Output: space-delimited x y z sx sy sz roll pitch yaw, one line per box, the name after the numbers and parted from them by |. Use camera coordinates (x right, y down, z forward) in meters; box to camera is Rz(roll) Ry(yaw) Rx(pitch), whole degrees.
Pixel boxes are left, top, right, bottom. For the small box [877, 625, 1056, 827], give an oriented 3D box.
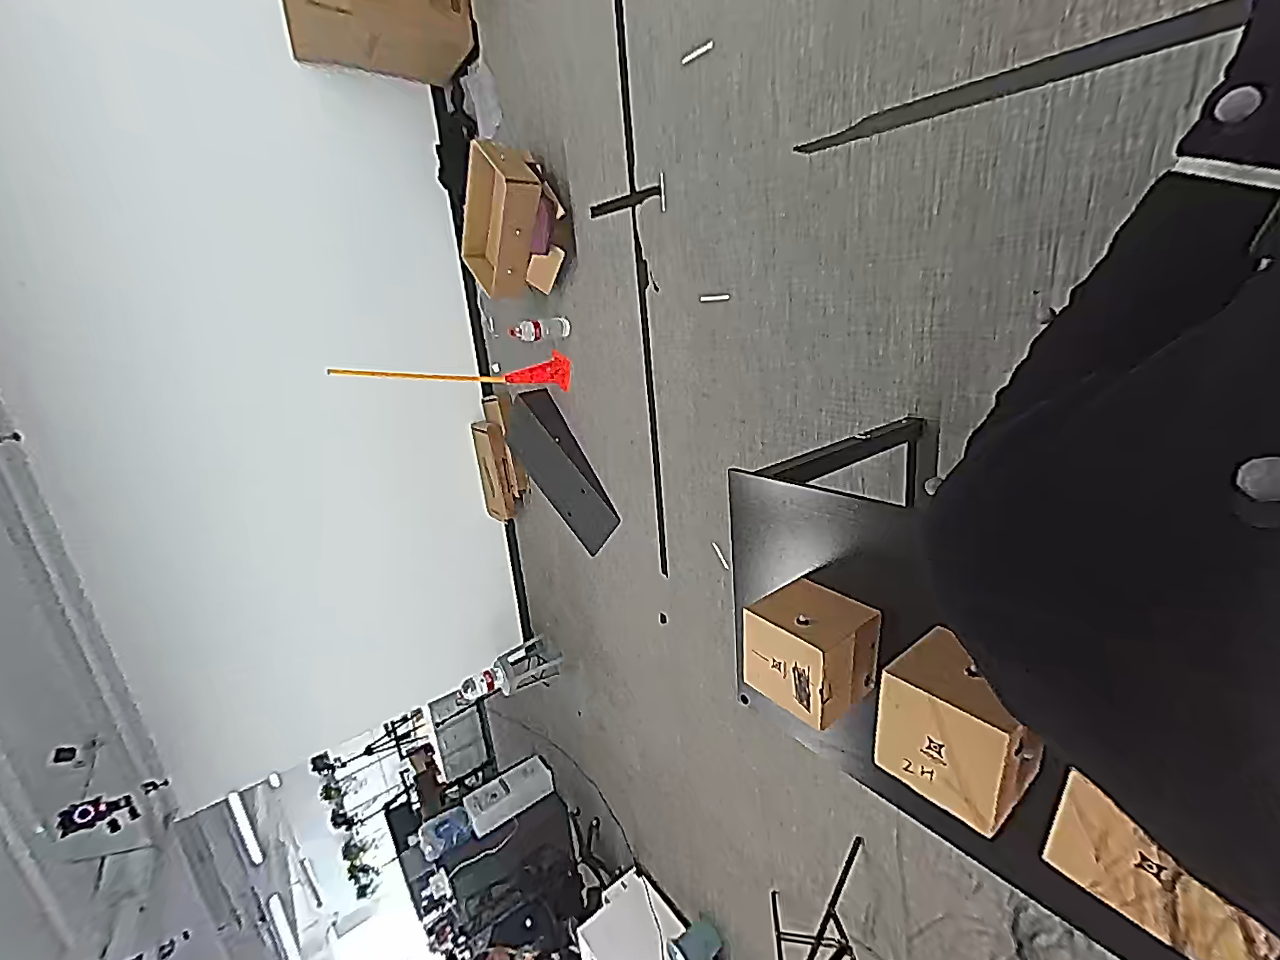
0.474 0.341 0.791 0.168 0.176 0.179 20 121 50 | small box

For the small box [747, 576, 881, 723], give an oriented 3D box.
0.318 0.298 0.995 0.179 0.176 0.168 21 121 50 | small box
